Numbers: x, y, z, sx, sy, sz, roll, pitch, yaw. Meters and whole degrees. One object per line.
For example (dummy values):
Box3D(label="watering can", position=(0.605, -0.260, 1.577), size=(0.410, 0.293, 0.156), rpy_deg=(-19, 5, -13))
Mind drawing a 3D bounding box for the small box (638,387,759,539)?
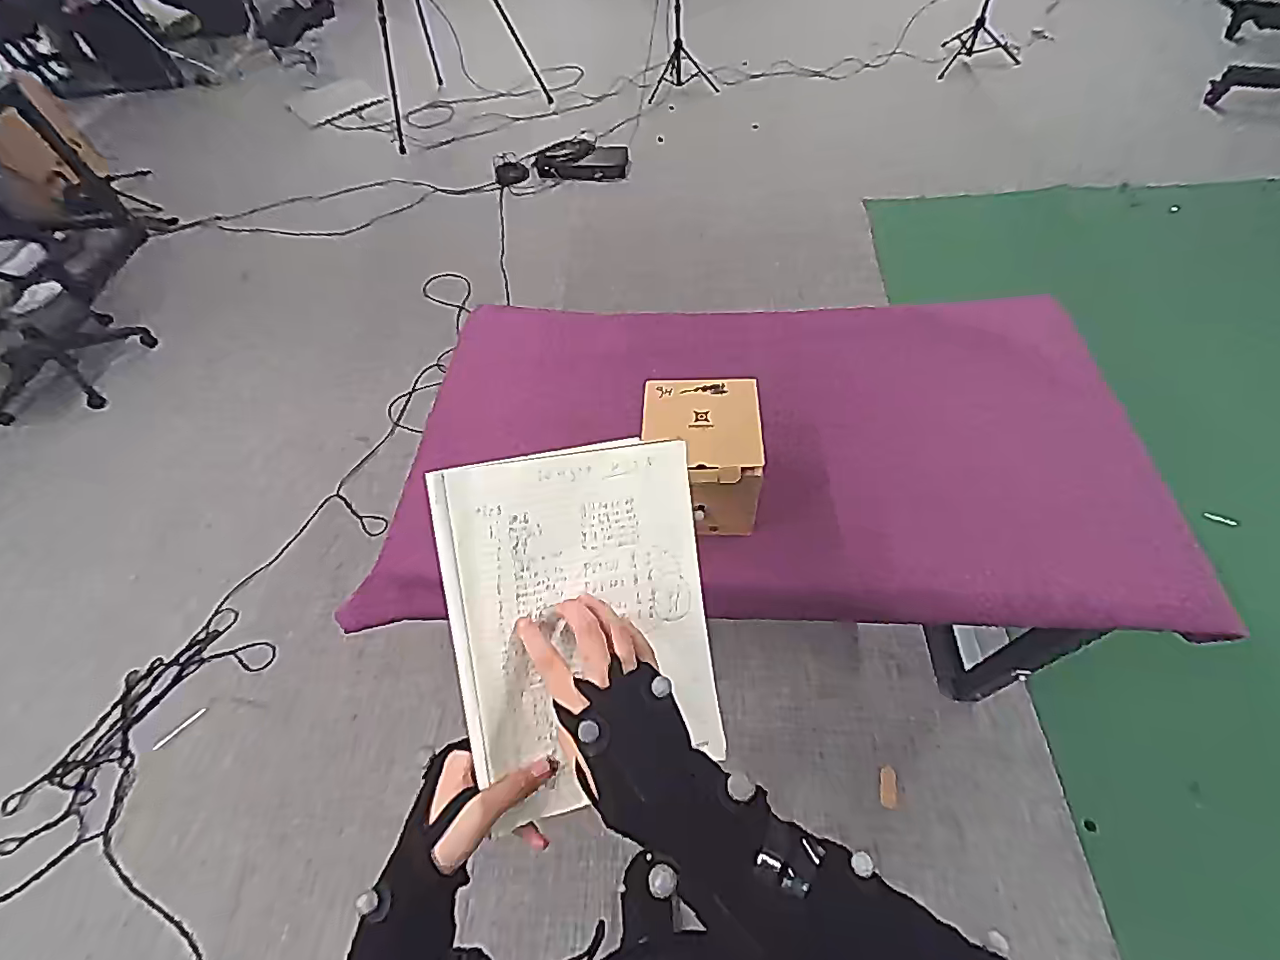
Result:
Box3D(label="small box", position=(0.091, -0.022, 0.831), size=(0.168, 0.176, 0.179), rpy_deg=(1, 56, 6))
